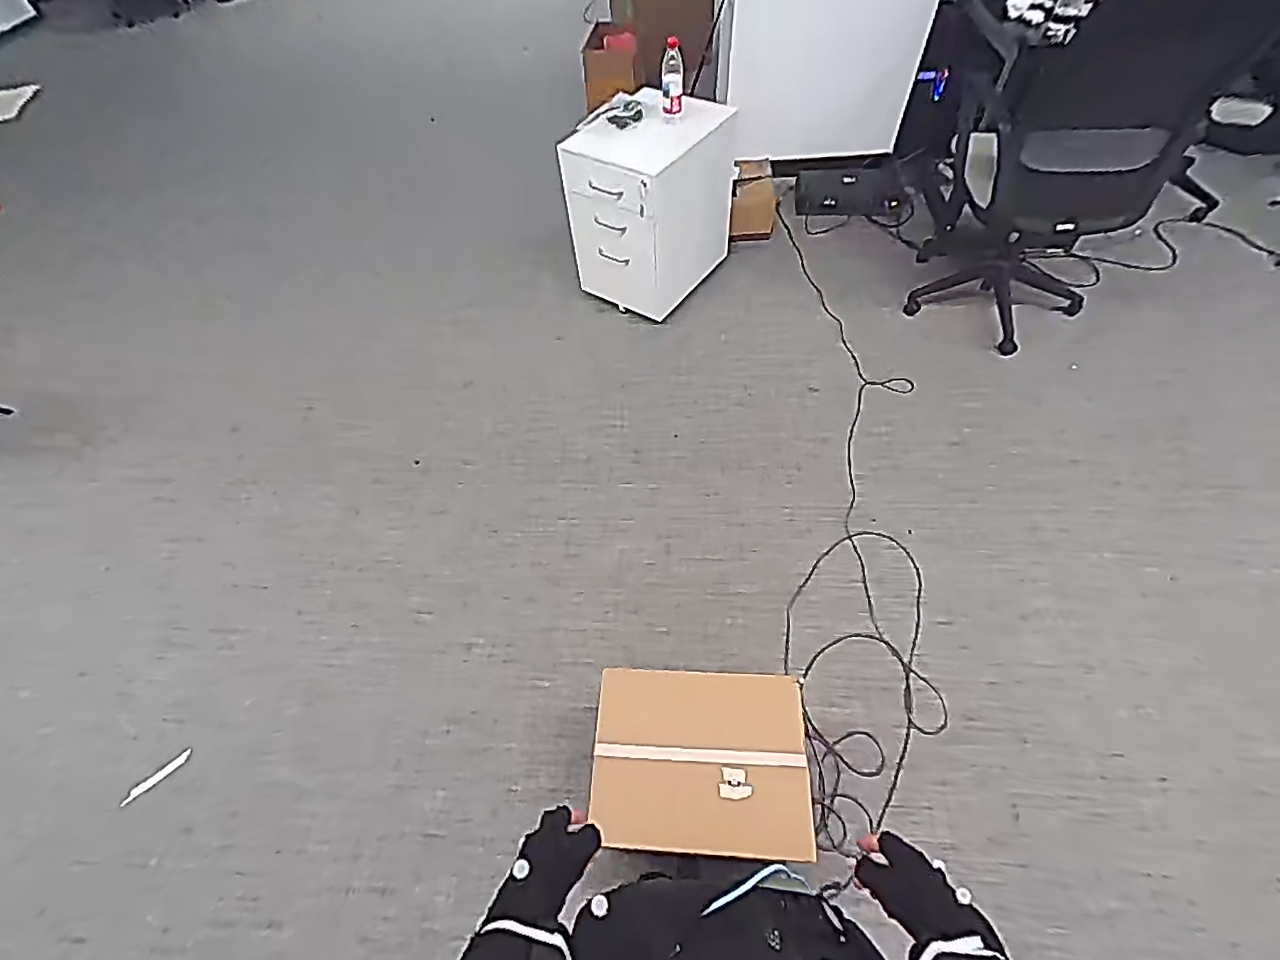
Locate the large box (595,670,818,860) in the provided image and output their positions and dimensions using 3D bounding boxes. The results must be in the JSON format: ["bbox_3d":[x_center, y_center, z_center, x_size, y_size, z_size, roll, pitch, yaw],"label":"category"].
[{"bbox_3d":[0.130,0.616,1.161,0.408,0.320,0.320,1,56,5],"label":"large box"}]
